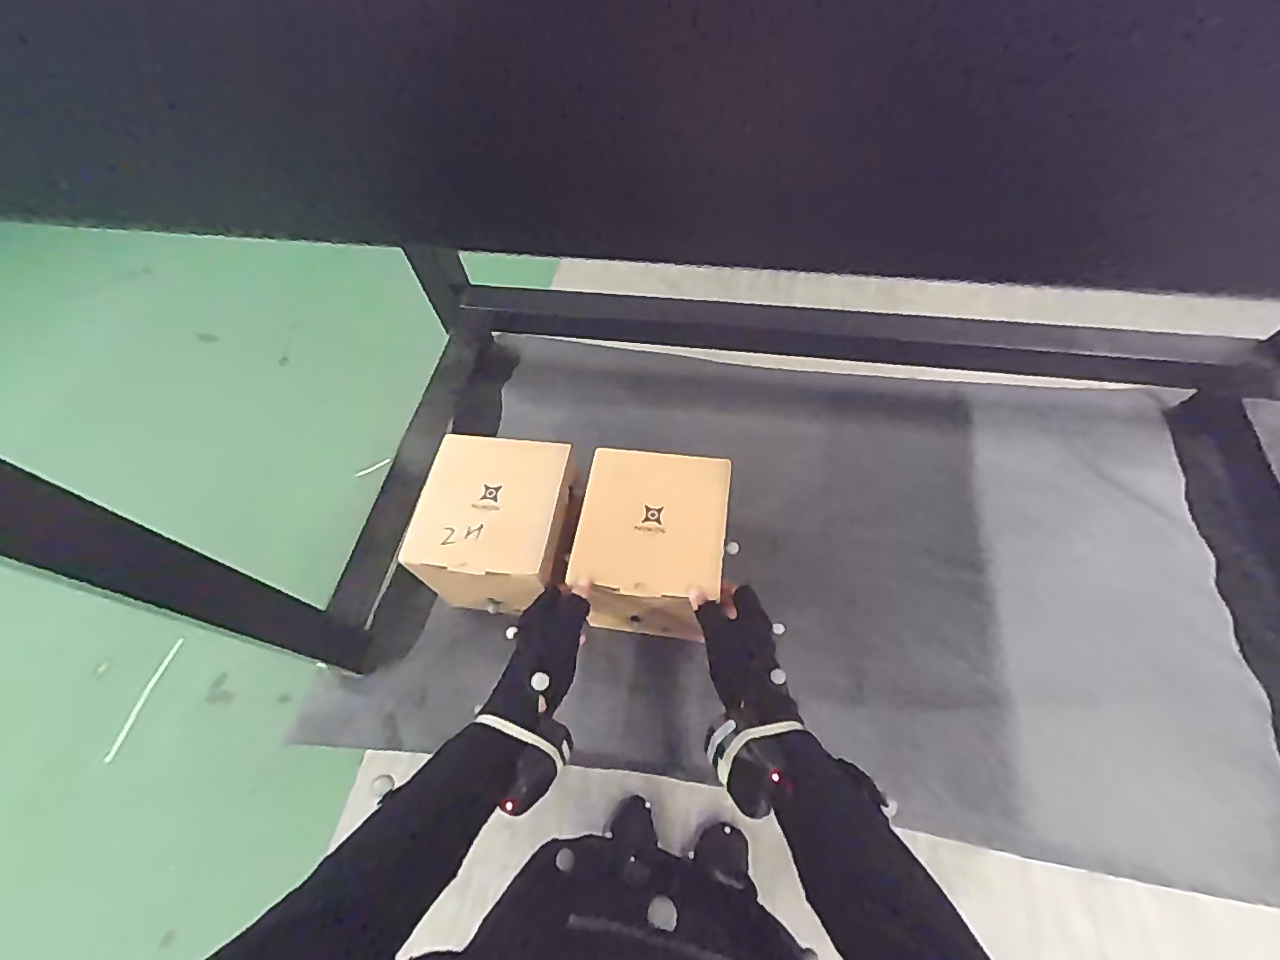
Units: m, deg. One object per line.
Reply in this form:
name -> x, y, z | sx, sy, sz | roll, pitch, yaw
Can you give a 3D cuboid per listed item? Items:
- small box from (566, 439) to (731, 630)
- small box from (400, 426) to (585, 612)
small box -> 0.020, 0.072, 0.675 | 0.168, 0.176, 0.179 | 5, 62, 9
small box -> -0.170, 0.054, 0.698 | 0.168, 0.176, 0.179 | 5, 61, 8
